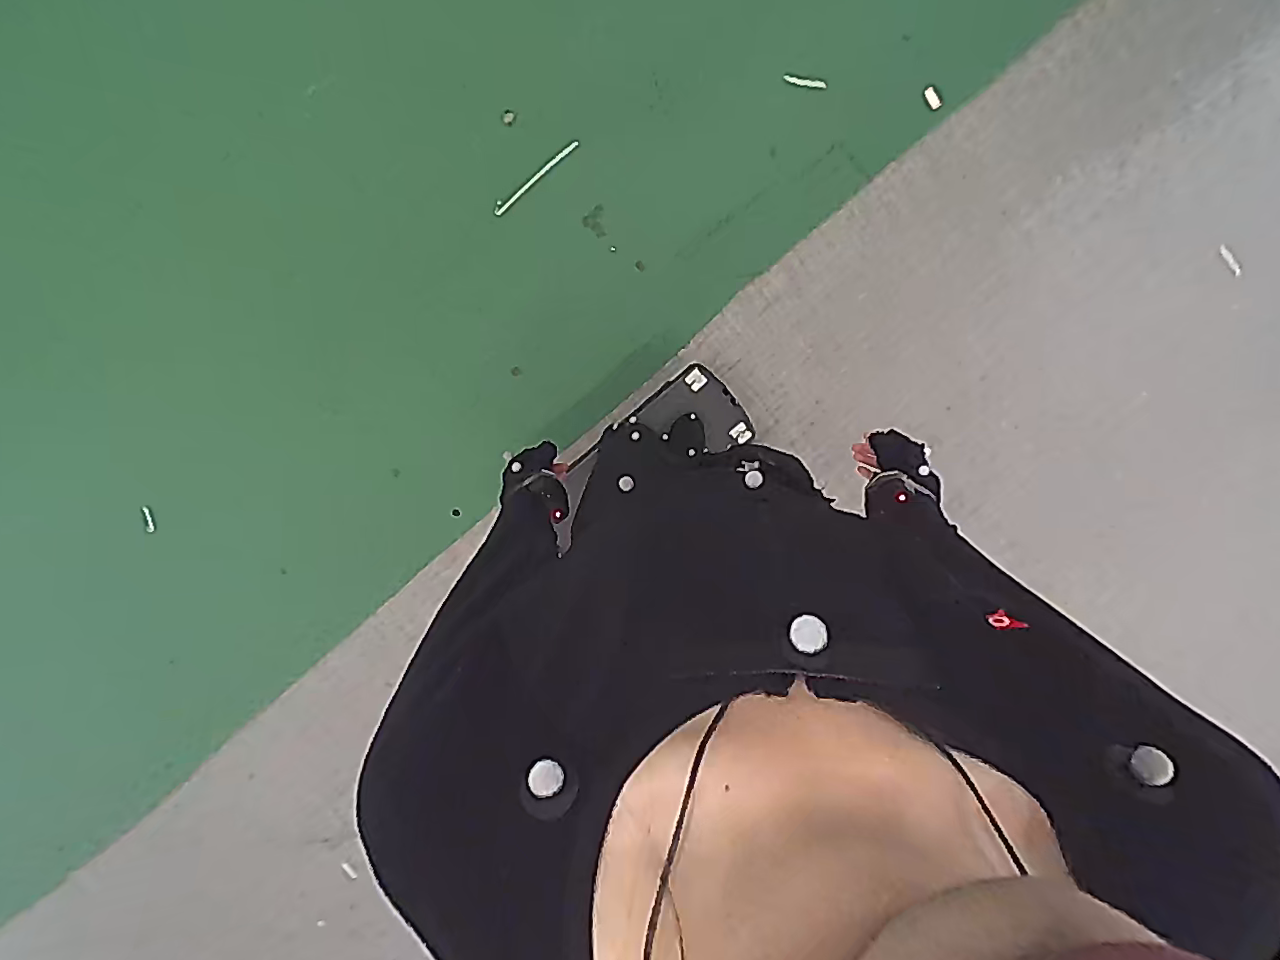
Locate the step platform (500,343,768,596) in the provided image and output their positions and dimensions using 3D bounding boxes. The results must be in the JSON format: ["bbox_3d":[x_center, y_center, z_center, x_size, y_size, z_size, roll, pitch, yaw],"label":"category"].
[{"bbox_3d":[-0.020,-0.031,1.380,0.684,0.204,0.286,-41,97,5],"label":"step platform"}]
